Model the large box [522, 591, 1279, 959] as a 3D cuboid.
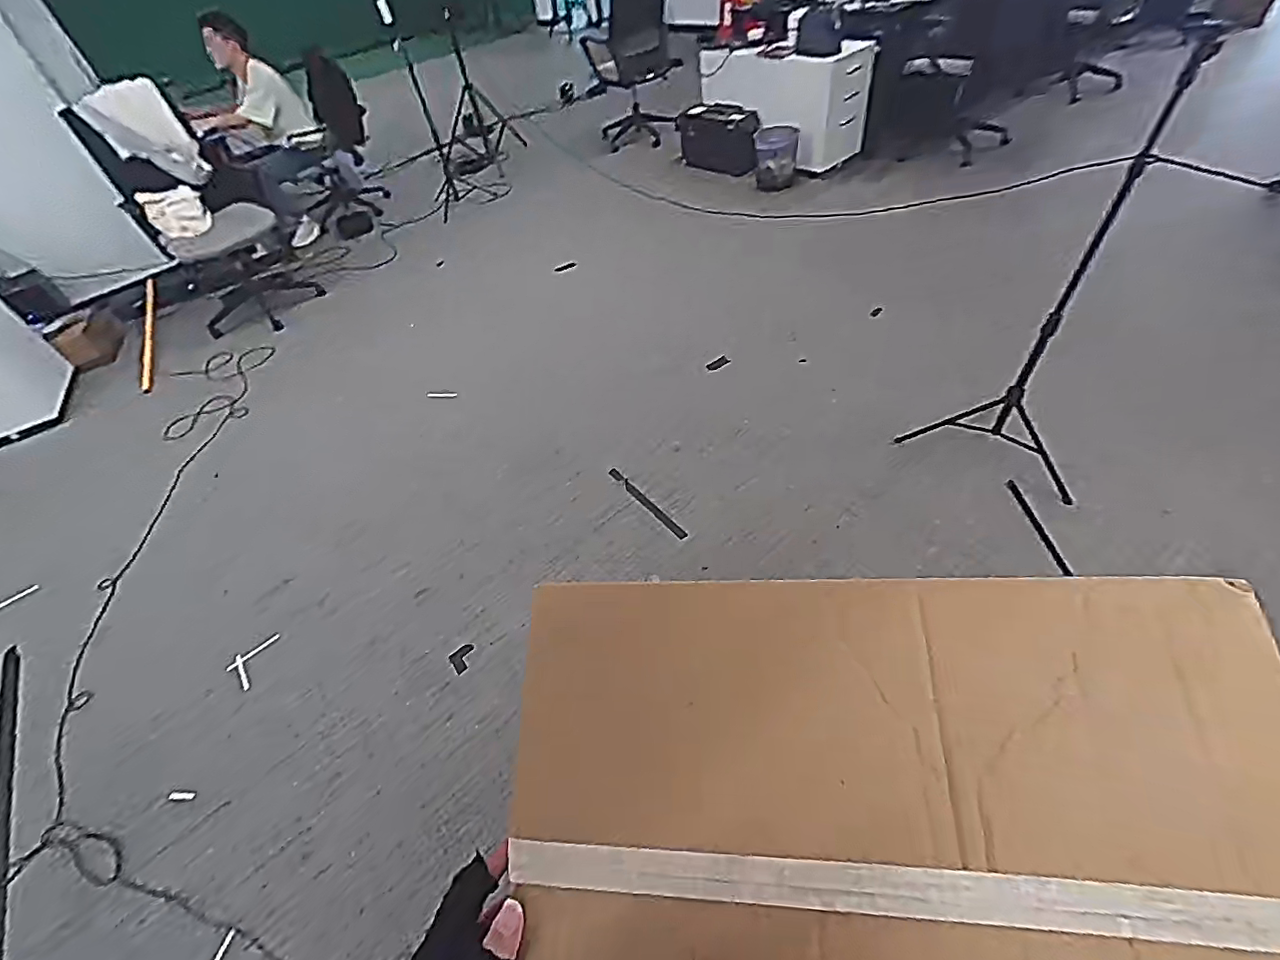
[{"bbox_3d":[0.155,0.271,0.420,0.408,0.320,0.320,-3,69,10],"label":"large box"}]
